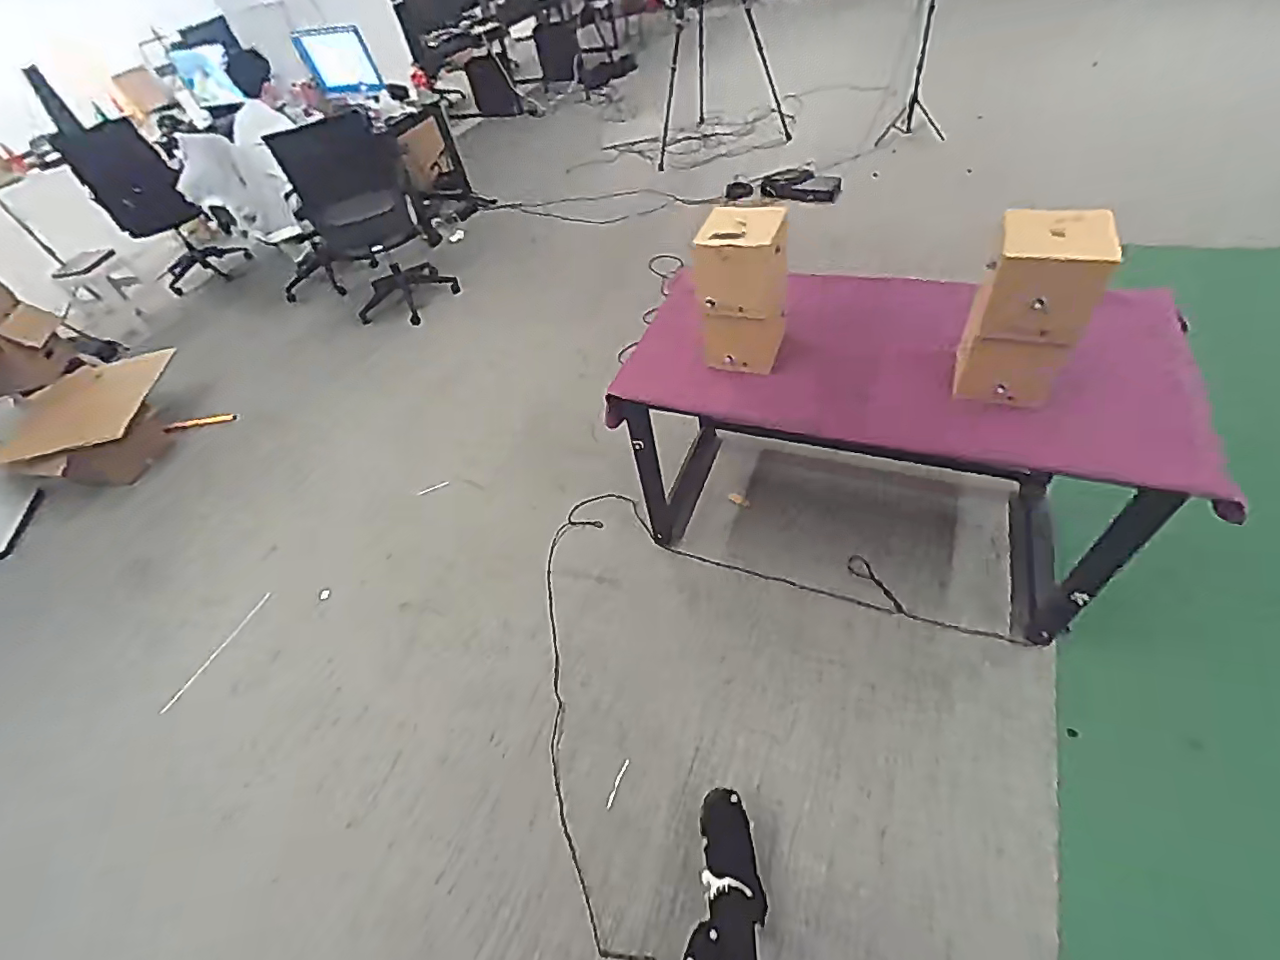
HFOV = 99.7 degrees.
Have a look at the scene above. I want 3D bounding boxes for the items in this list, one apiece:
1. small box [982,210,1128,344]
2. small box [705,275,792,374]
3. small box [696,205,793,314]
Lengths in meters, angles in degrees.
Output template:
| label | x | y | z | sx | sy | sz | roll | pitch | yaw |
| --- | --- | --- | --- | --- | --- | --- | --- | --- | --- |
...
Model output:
| label | x | y | z | sx | sy | sz | roll | pitch | yaw |
| --- | --- | --- | --- | --- | --- | --- | --- | --- | --- |
| small box | 0.746 | -0.370 | 0.989 | 0.168 | 0.176 | 0.179 | 13 | 54 | 21 |
| small box | 0.264 | -0.387 | 1.321 | 0.168 | 0.176 | 0.179 | 12 | 53 | 21 |
| small box | 0.234 | -0.486 | 1.194 | 0.168 | 0.176 | 0.179 | 12 | 52 | 21 |
